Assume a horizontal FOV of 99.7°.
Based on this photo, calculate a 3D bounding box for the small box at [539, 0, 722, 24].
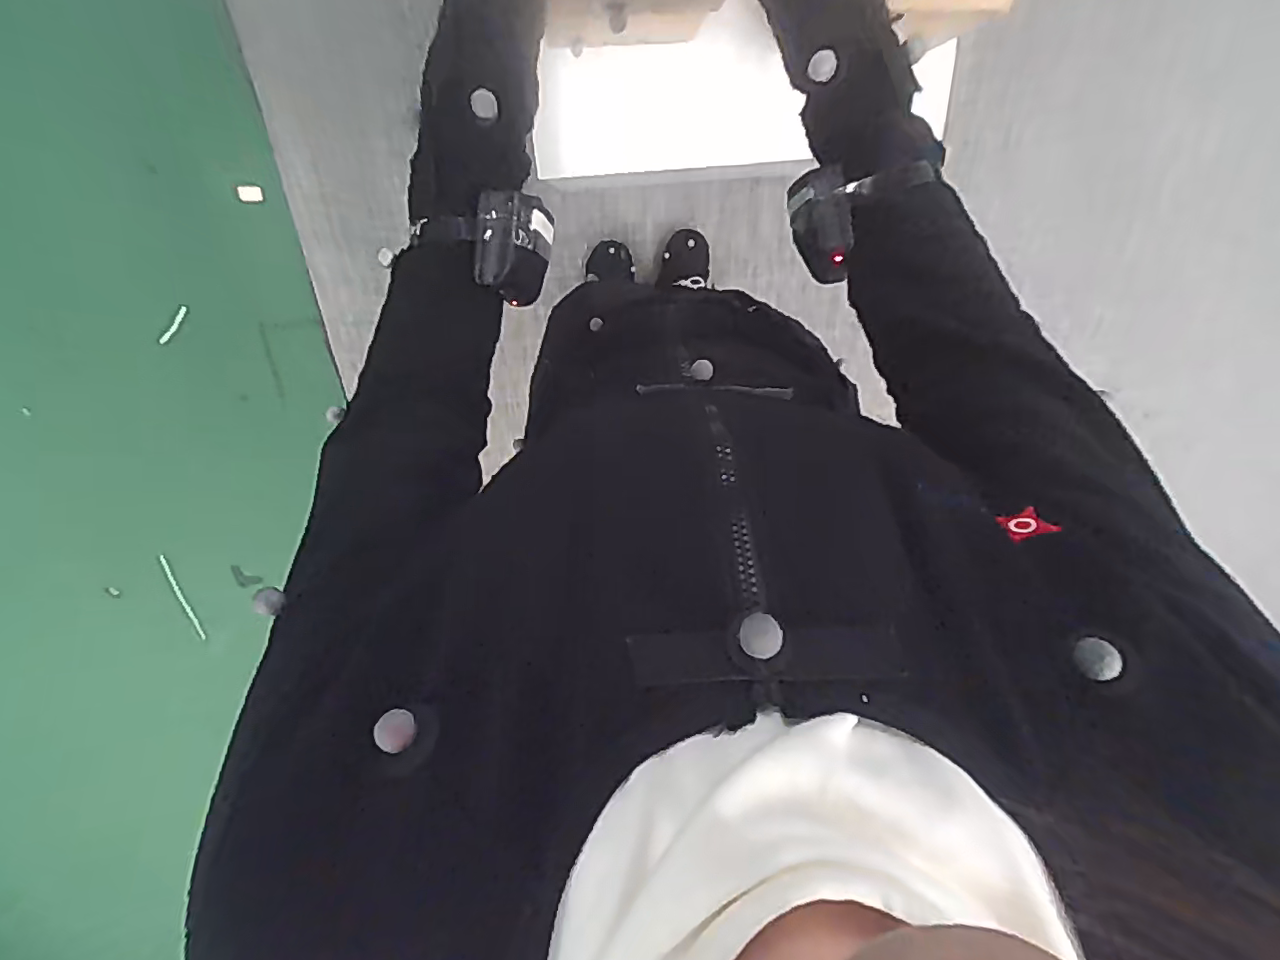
[{"bbox_3d":[-0.009,-0.451,0.370,0.168,0.176,0.179,-4,118,-1],"label":"small box"}]

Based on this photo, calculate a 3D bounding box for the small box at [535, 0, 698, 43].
[{"bbox_3d":[-0.019,-0.537,0.508,0.168,0.176,0.179,-4,116,-2],"label":"small box"}]

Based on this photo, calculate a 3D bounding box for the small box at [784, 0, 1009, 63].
[{"bbox_3d":[0.249,-0.537,0.525,0.168,0.176,0.179,-1,116,-2],"label":"small box"}]
